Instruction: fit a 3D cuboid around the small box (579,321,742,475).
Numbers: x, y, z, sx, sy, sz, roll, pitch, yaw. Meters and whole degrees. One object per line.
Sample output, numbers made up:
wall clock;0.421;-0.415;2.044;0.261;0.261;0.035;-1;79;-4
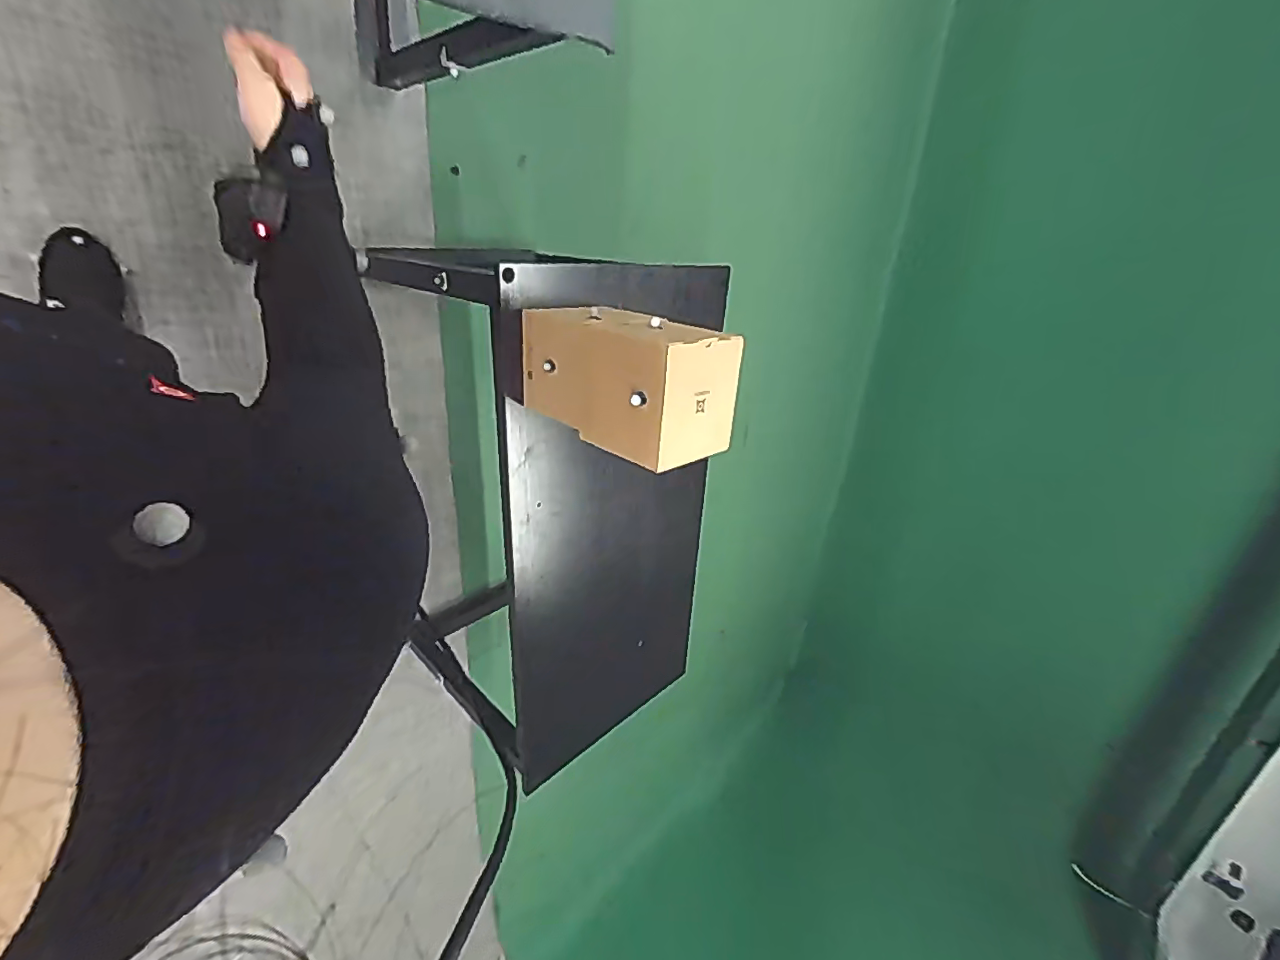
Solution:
small box;0.023;-0.130;0.796;0.168;0.176;0.179;-19;122;-42

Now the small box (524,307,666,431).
small box;-0.081;-0.192;0.905;0.179;0.176;0.168;-19;124;-42
